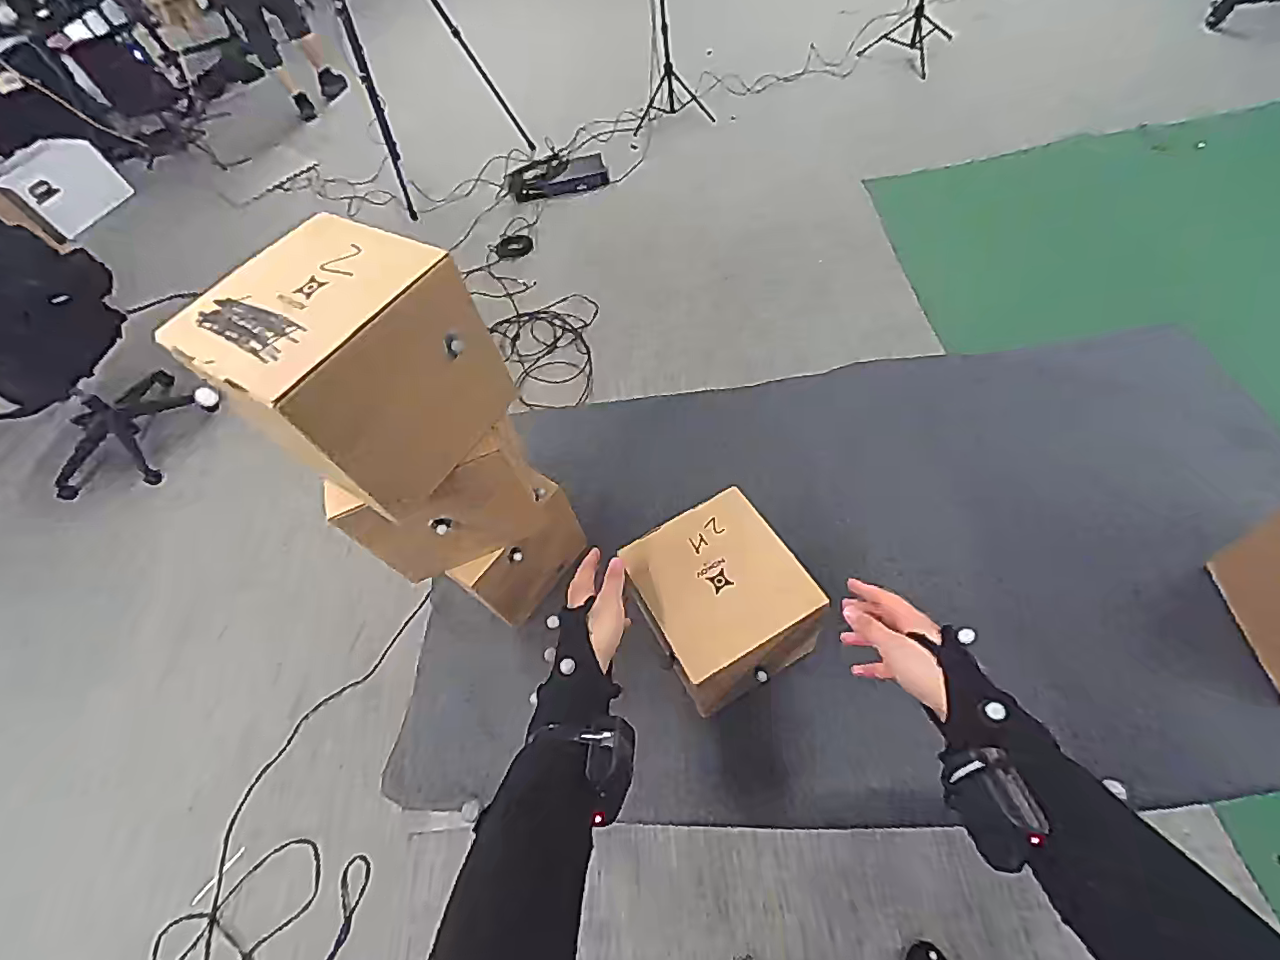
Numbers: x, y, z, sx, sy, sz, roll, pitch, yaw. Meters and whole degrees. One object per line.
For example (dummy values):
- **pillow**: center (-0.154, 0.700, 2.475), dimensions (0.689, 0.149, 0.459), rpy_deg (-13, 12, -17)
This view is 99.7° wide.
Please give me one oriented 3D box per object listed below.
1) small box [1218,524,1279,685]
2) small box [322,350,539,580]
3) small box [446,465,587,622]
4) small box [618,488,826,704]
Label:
- **small box**: center (0.749, 0.121, 0.531), dimensions (0.168, 0.176, 0.179), rpy_deg (-2, 54, 13)
- **small box**: center (-0.230, -0.011, 0.626), dimensions (0.179, 0.176, 0.168), rpy_deg (-24, 57, -4)
- **small box**: center (-0.203, 0.074, 0.765), dimensions (0.179, 0.176, 0.168), rpy_deg (29, 67, 26)
- **small box**: center (0.097, 0.149, 0.653), dimensions (0.168, 0.176, 0.179), rpy_deg (-28, 56, -8)
